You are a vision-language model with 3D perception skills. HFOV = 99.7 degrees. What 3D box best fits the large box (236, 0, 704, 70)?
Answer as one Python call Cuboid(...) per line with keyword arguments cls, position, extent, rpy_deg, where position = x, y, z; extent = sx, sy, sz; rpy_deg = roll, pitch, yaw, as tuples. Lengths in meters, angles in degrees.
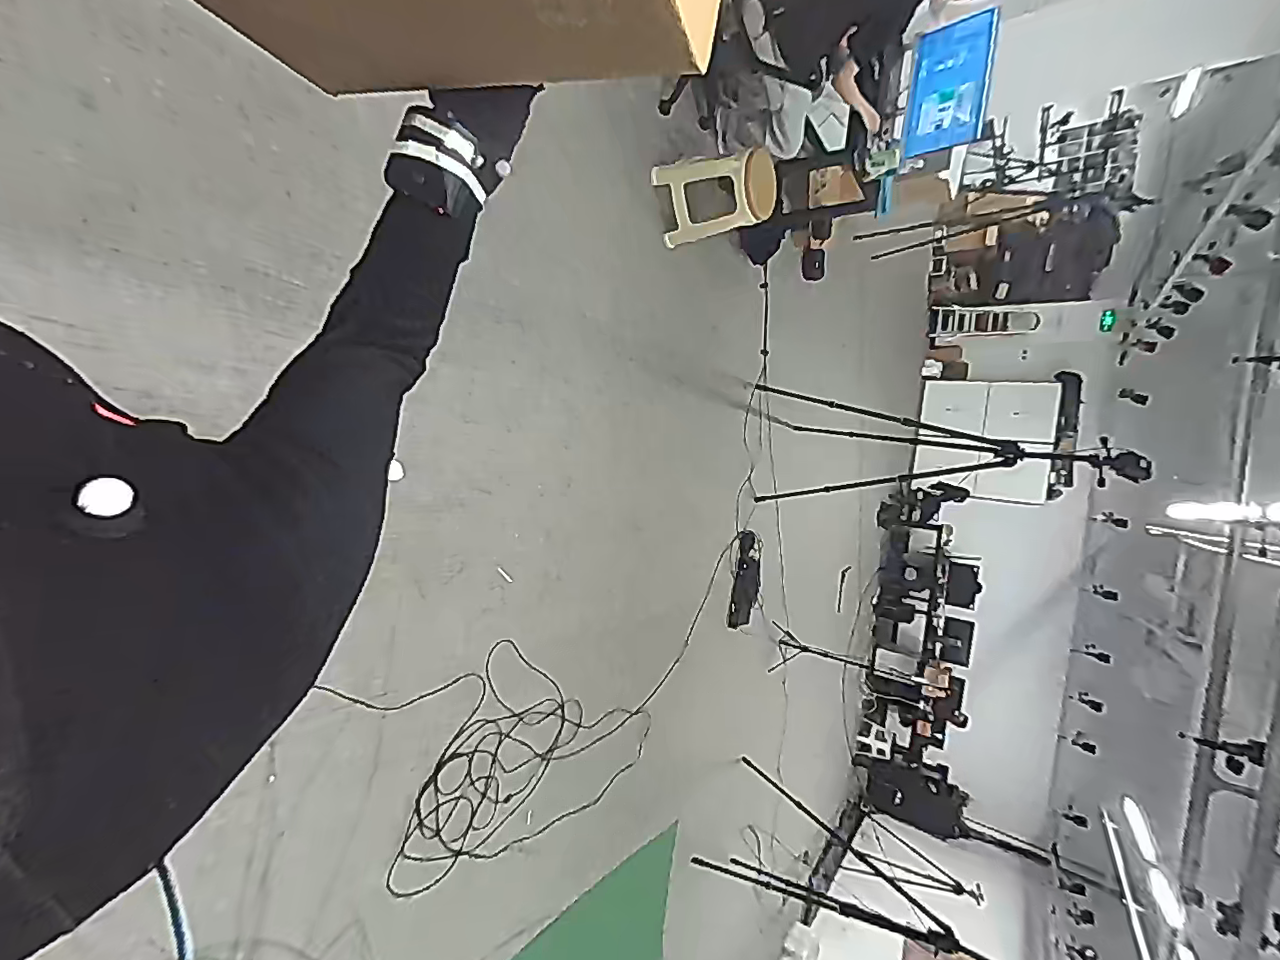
Cuboid(cls="large box", position=(-0.148, -0.428, 0.181), extent=(0.408, 0.320, 0.320), rpy_deg=(-12, 113, -71))
